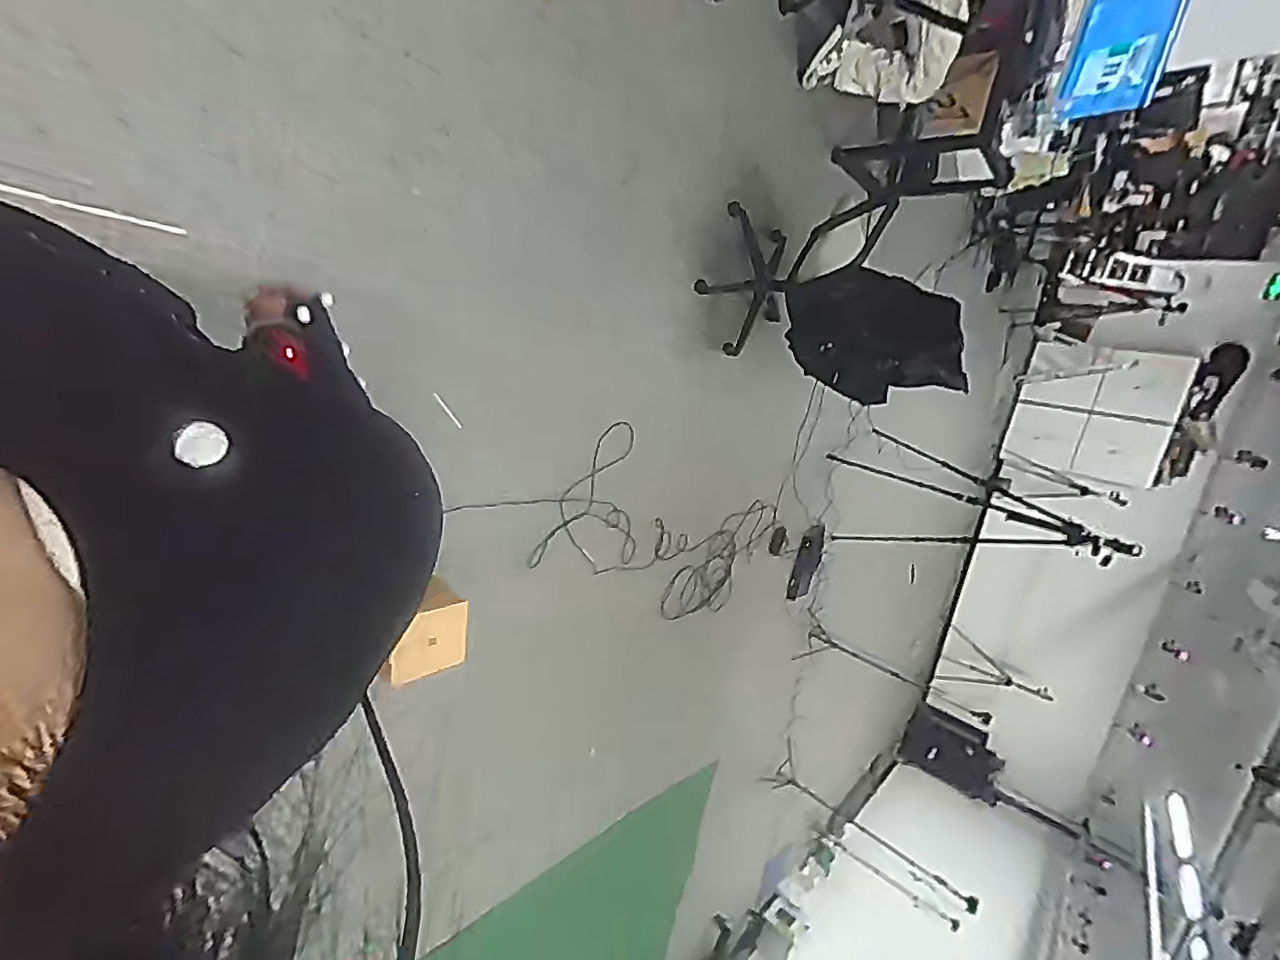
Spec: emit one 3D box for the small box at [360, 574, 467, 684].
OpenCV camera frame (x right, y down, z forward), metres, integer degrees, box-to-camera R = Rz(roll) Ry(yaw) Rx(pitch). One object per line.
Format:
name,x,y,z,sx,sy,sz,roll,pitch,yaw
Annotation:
small box,-0.526,0.333,1.255,0.179,0.176,0.168,-7,111,-45
